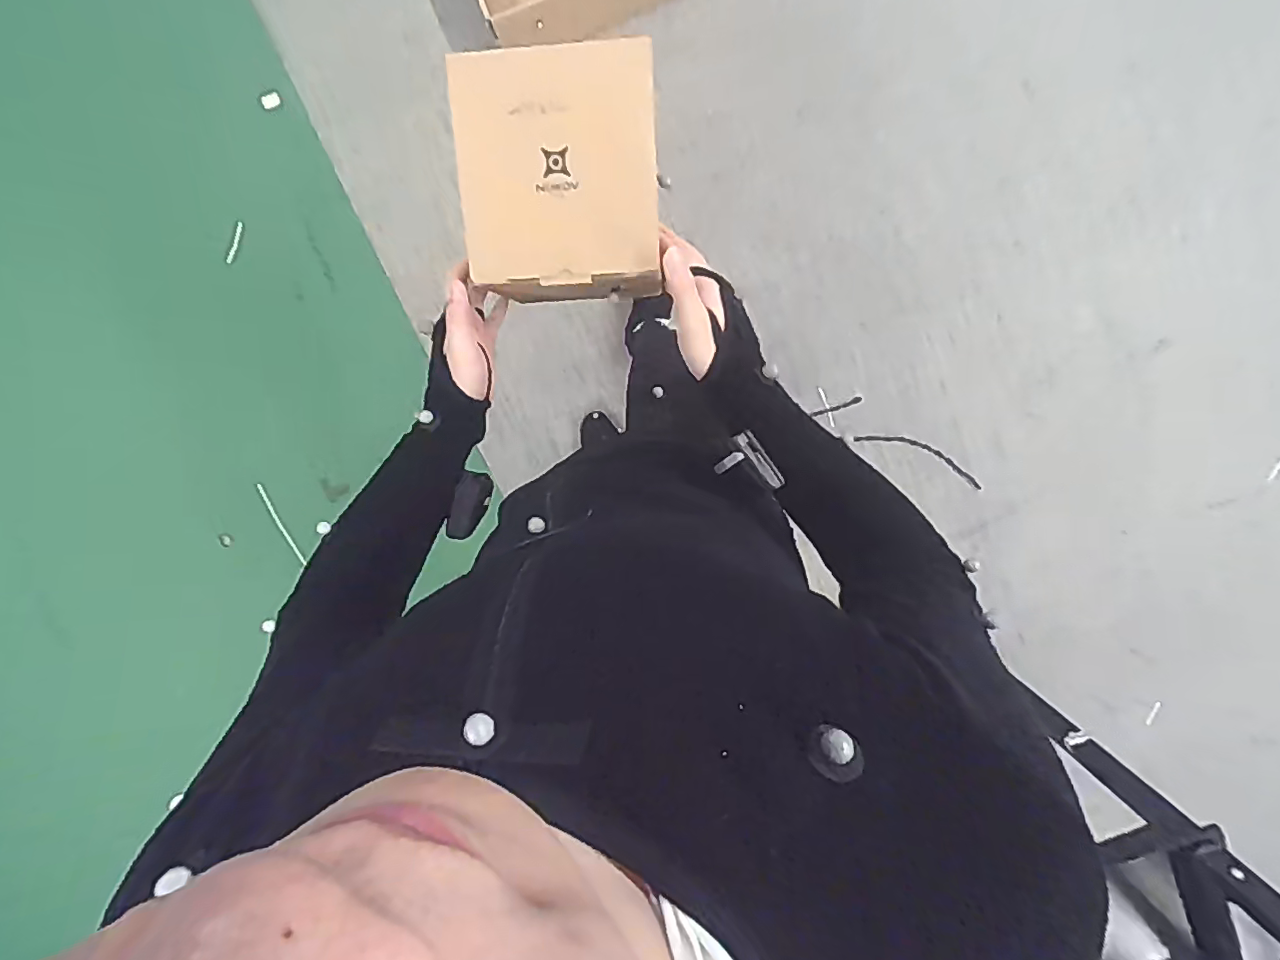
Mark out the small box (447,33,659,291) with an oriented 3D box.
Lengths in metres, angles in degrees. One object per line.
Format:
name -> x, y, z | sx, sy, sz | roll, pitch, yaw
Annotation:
small box -> -0.066, -0.279, 0.518 | 0.168, 0.176, 0.179 | -2, 103, 2
